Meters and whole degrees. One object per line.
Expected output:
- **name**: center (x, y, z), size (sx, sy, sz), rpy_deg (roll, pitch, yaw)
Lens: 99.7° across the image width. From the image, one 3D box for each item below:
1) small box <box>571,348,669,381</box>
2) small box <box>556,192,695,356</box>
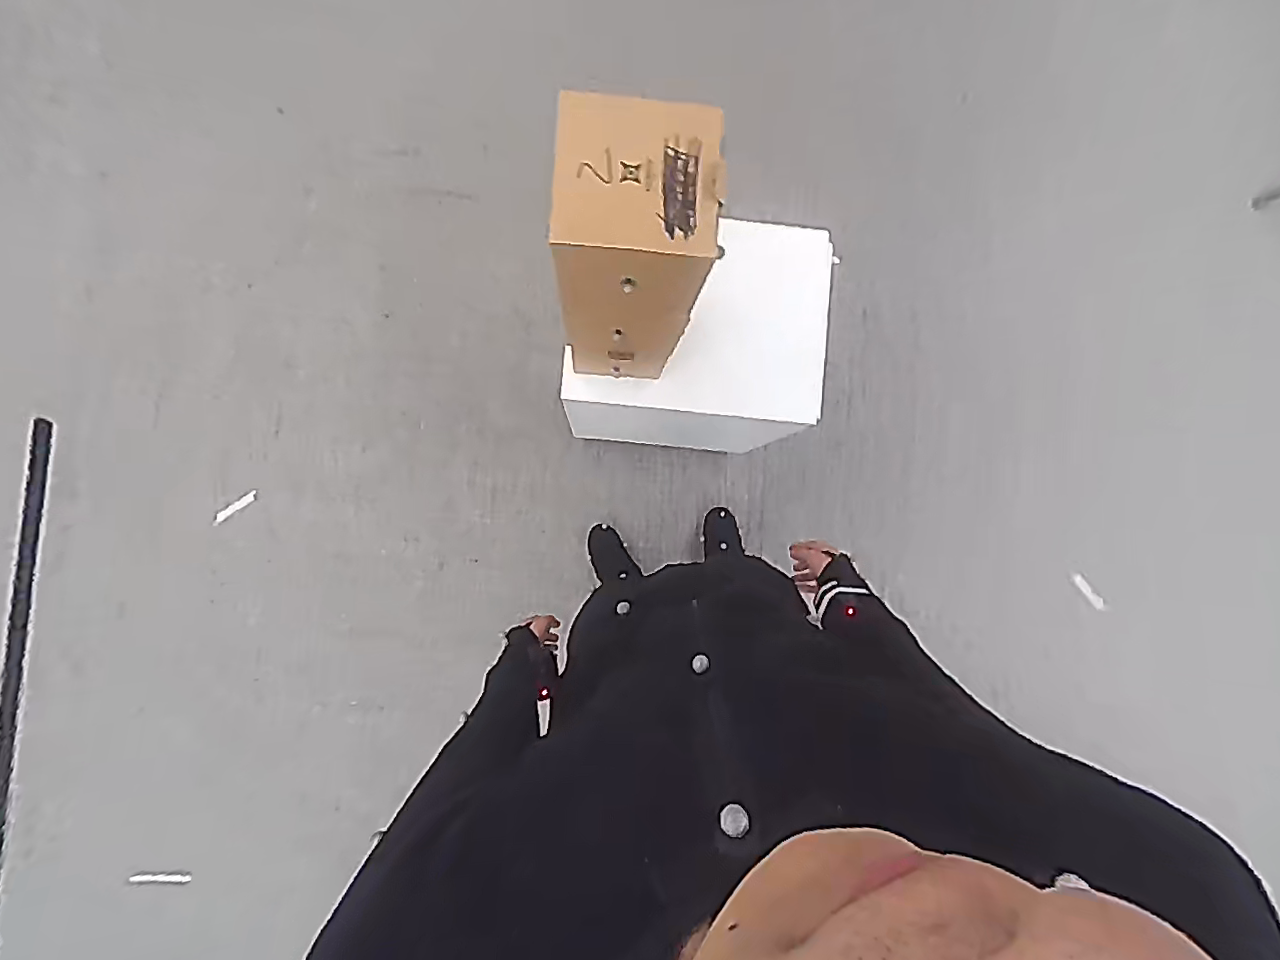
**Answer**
- **small box**: center (-0.035, -0.287, 0.961), size (0.168, 0.176, 0.179), rpy_deg (4, 87, -4)
- **small box**: center (-0.024, -0.289, 0.796), size (0.179, 0.176, 0.168), rpy_deg (4, 86, -4)
